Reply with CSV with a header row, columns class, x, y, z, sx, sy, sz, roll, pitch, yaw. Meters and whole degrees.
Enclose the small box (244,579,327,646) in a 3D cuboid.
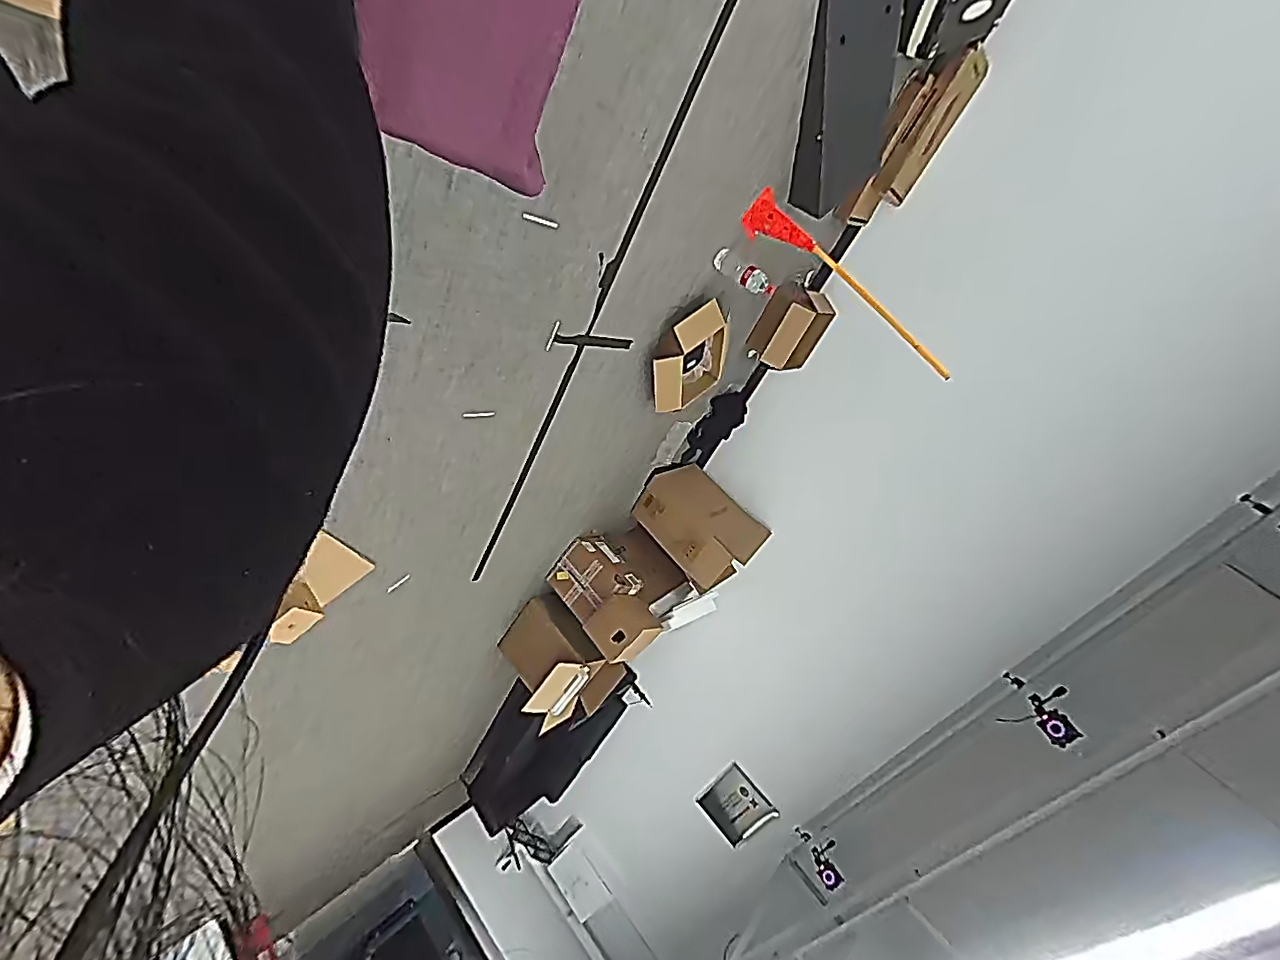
class,x,y,z,sx,sy,sz,roll,pitch,yaw
small box,-1.345,0.501,2.051,0.168,0.176,0.179,-42,156,-9
